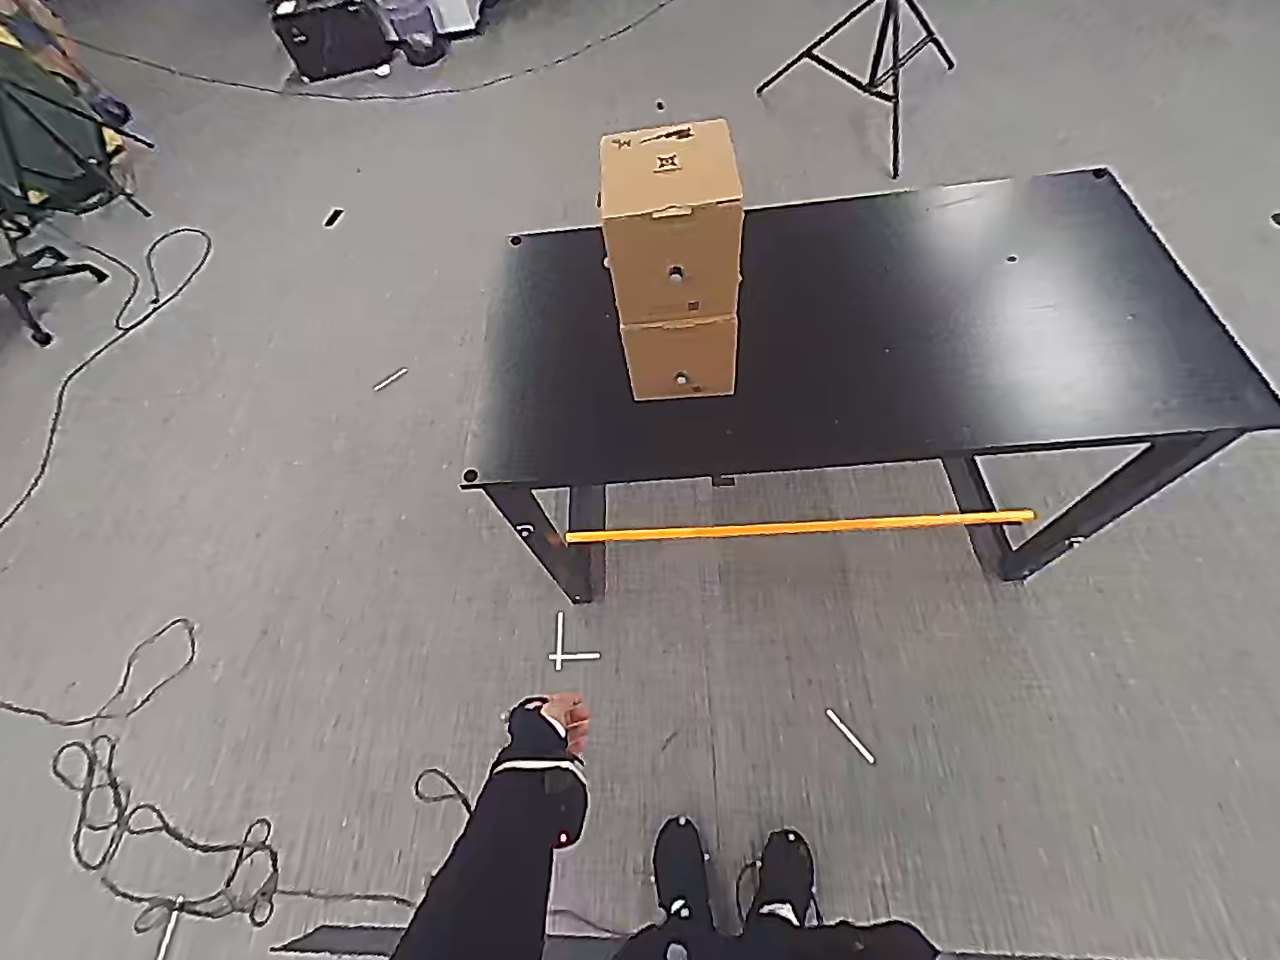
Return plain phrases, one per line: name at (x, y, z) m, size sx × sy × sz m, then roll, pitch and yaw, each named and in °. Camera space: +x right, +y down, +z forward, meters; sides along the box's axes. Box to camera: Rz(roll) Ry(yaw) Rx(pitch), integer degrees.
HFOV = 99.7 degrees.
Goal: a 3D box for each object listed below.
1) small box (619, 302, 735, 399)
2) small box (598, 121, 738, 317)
small box at (0.061, -0.251, 0.866) m, size 0.168 × 0.176 × 0.179 m, roll -3°, pitch 61°, yaw 6°
small box at (0.040, -0.338, 0.728) m, size 0.168 × 0.176 × 0.179 m, roll -5°, pitch 61°, yaw 5°
